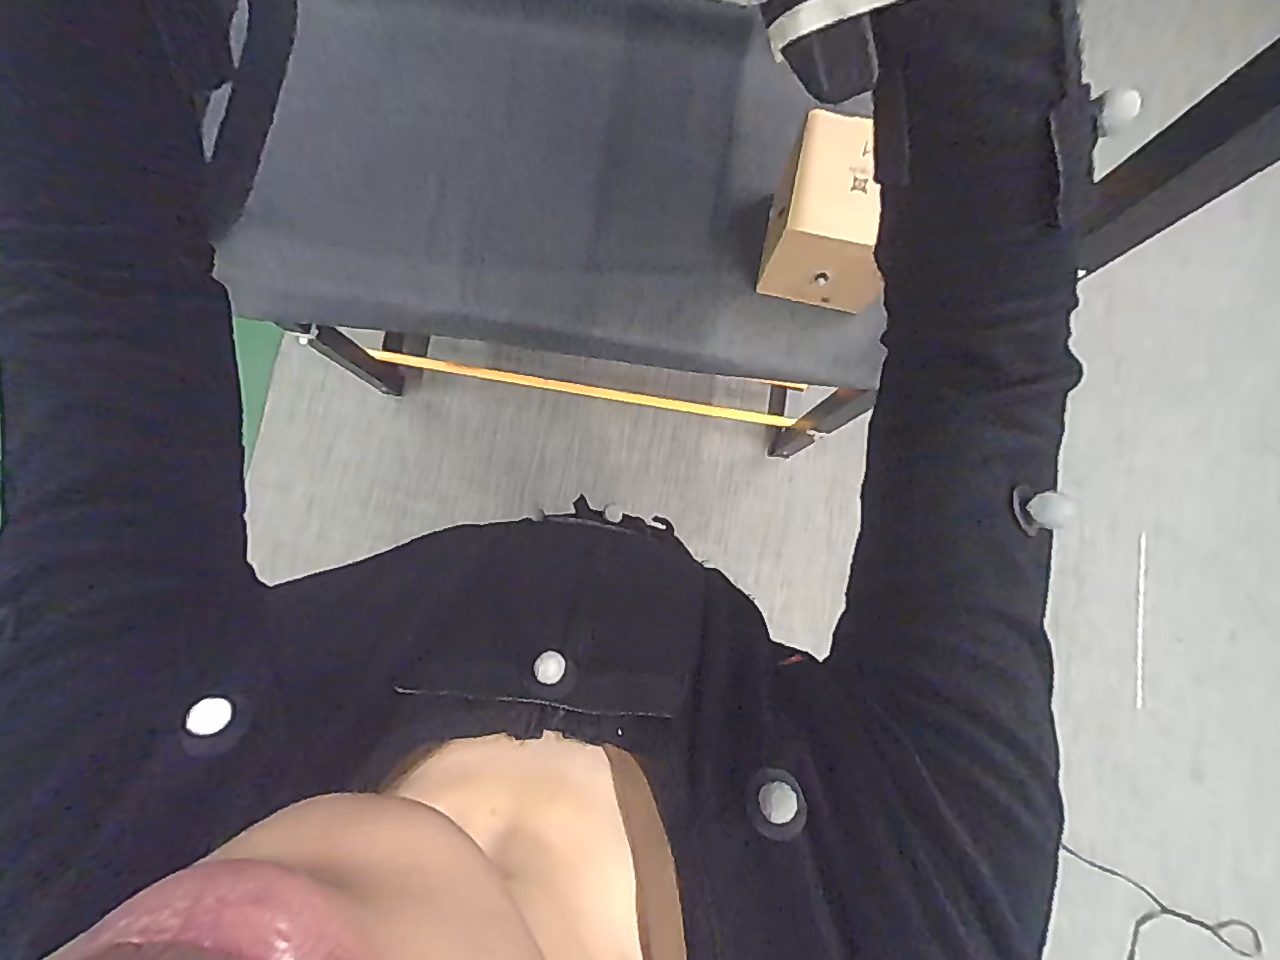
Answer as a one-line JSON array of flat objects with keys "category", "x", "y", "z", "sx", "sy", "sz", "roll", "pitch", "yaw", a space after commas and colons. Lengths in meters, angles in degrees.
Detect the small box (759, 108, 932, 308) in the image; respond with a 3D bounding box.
[{"category": "small box", "x": 0.277, "y": -0.369, "z": 0.763, "sx": 0.168, "sy": 0.176, "sz": 0.179, "roll": 12, "pitch": 82, "yaw": 0}]
